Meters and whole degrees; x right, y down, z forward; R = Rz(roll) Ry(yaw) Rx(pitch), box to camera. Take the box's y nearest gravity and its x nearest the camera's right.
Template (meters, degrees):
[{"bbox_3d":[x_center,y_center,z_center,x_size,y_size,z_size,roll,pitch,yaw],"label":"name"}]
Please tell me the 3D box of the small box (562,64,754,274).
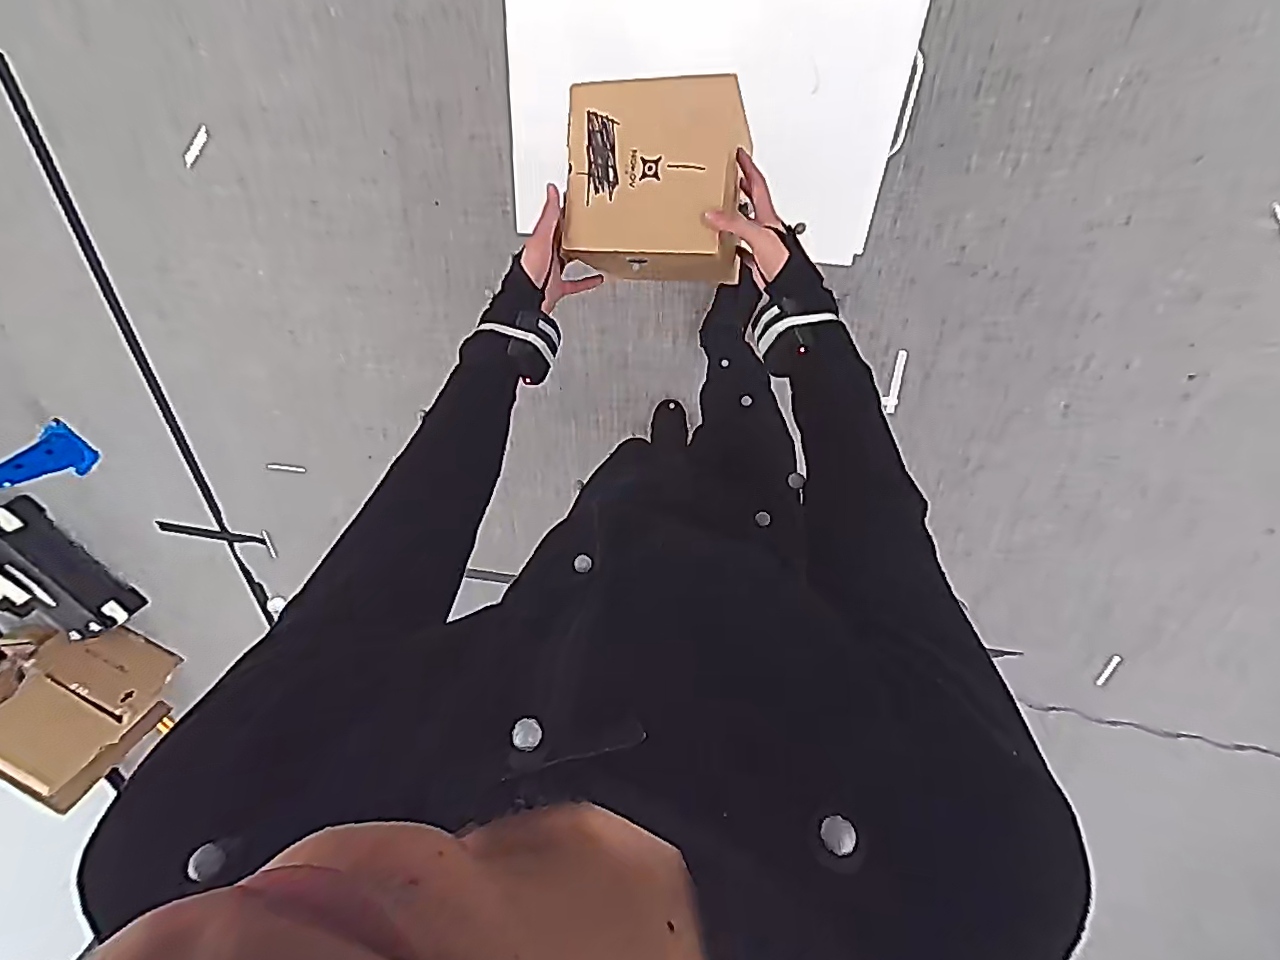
[{"bbox_3d":[0.028,-0.340,0.627,0.179,0.176,0.168,8,102,16],"label":"small box"}]
